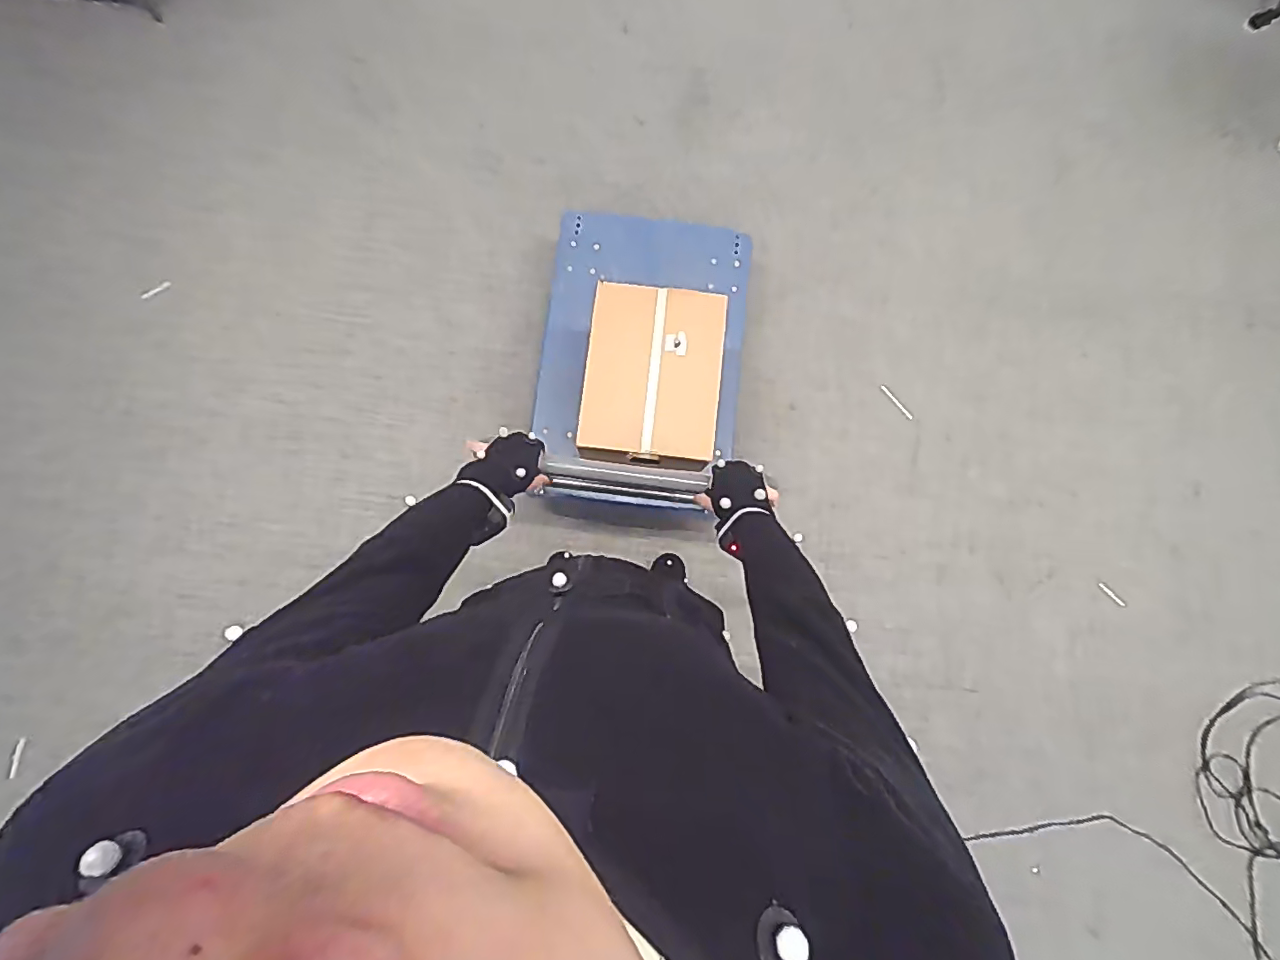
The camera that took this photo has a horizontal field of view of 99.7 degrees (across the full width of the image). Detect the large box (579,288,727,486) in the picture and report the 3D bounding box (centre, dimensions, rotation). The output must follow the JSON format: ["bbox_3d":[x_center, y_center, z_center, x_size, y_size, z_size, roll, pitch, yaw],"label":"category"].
[{"bbox_3d":[0.032,-0.215,1.380,0.320,0.320,0.408,7,80,-1],"label":"large box"}]
